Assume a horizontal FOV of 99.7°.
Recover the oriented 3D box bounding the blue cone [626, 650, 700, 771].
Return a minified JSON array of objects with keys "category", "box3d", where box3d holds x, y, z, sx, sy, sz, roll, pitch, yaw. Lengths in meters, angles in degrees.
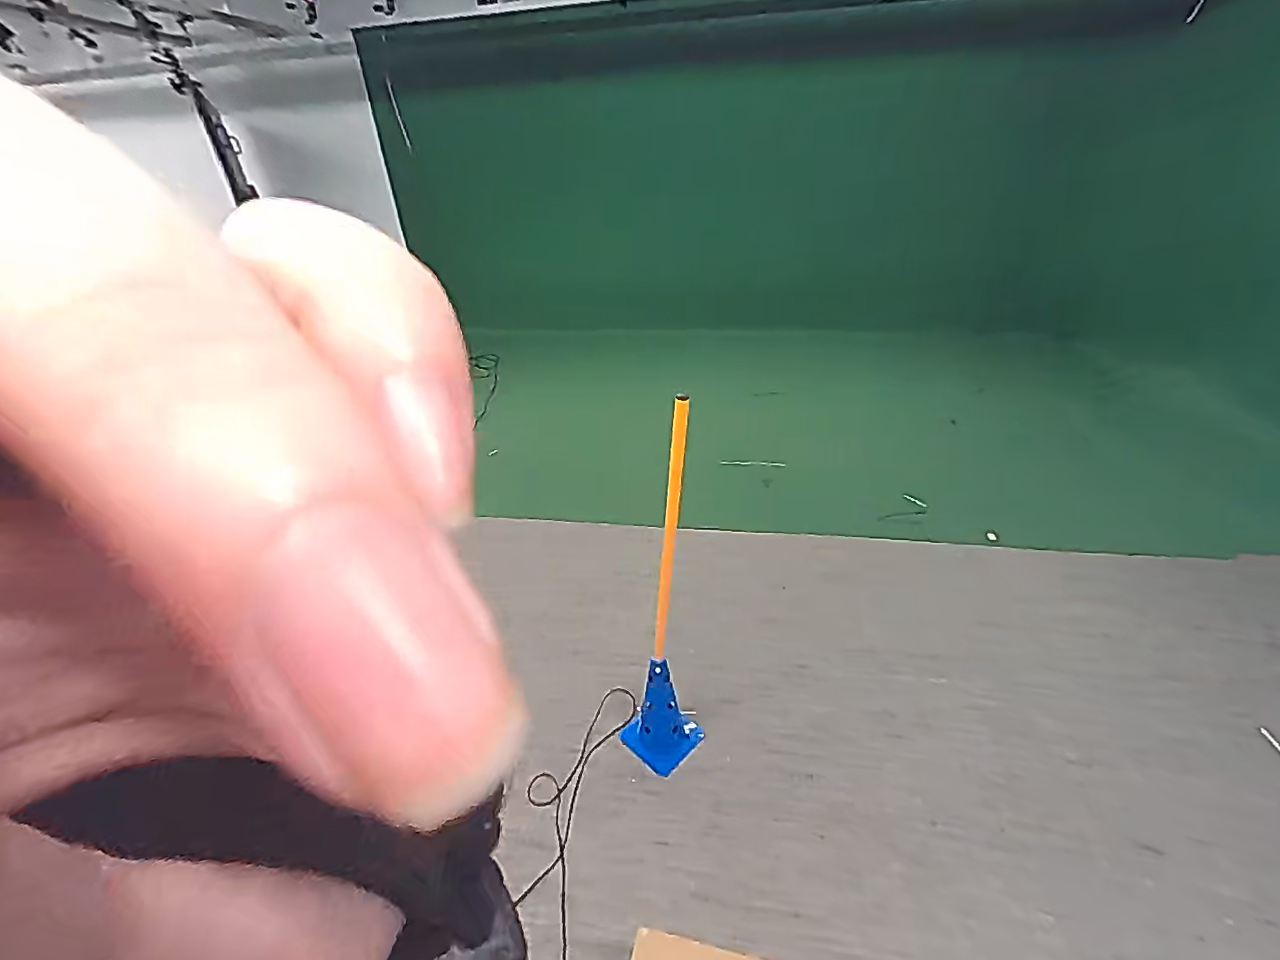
[{"category":"blue cone","box3d":[0.066,0.639,1.583,0.192,0.380,0.193,24,39,36]}]
